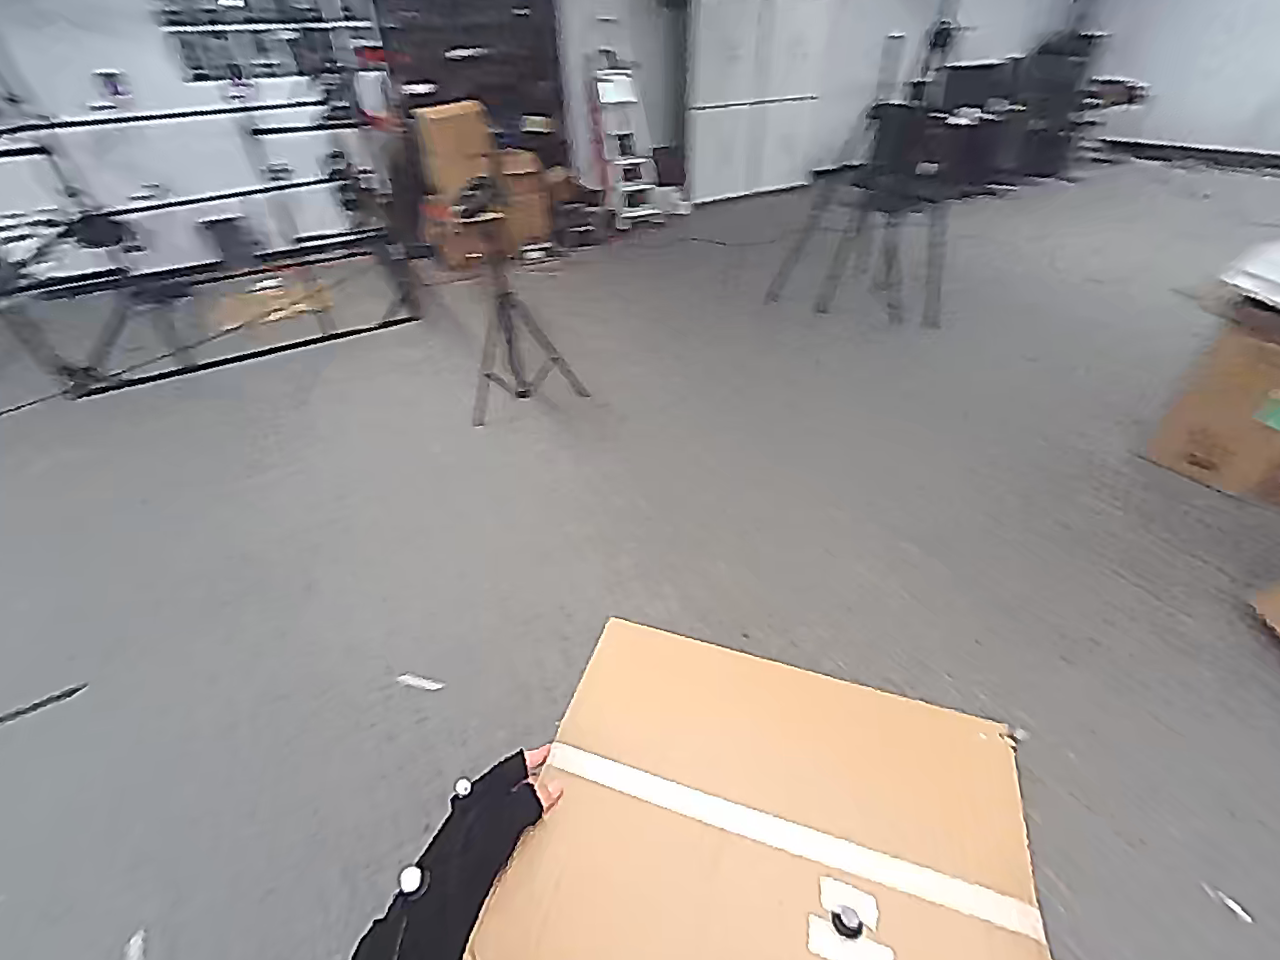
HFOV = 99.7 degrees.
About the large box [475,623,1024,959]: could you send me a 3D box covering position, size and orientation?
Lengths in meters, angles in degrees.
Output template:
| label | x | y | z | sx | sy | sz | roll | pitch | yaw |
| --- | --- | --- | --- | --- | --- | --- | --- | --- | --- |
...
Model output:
| label | x | y | z | sx | sy | sz | roll | pitch | yaw |
| --- | --- | --- | --- | --- | --- | --- | --- | --- | --- |
| large box | 0.107 | 0.406 | 0.568 | 0.408 | 0.320 | 0.320 | 11 | 43 | 15 |
